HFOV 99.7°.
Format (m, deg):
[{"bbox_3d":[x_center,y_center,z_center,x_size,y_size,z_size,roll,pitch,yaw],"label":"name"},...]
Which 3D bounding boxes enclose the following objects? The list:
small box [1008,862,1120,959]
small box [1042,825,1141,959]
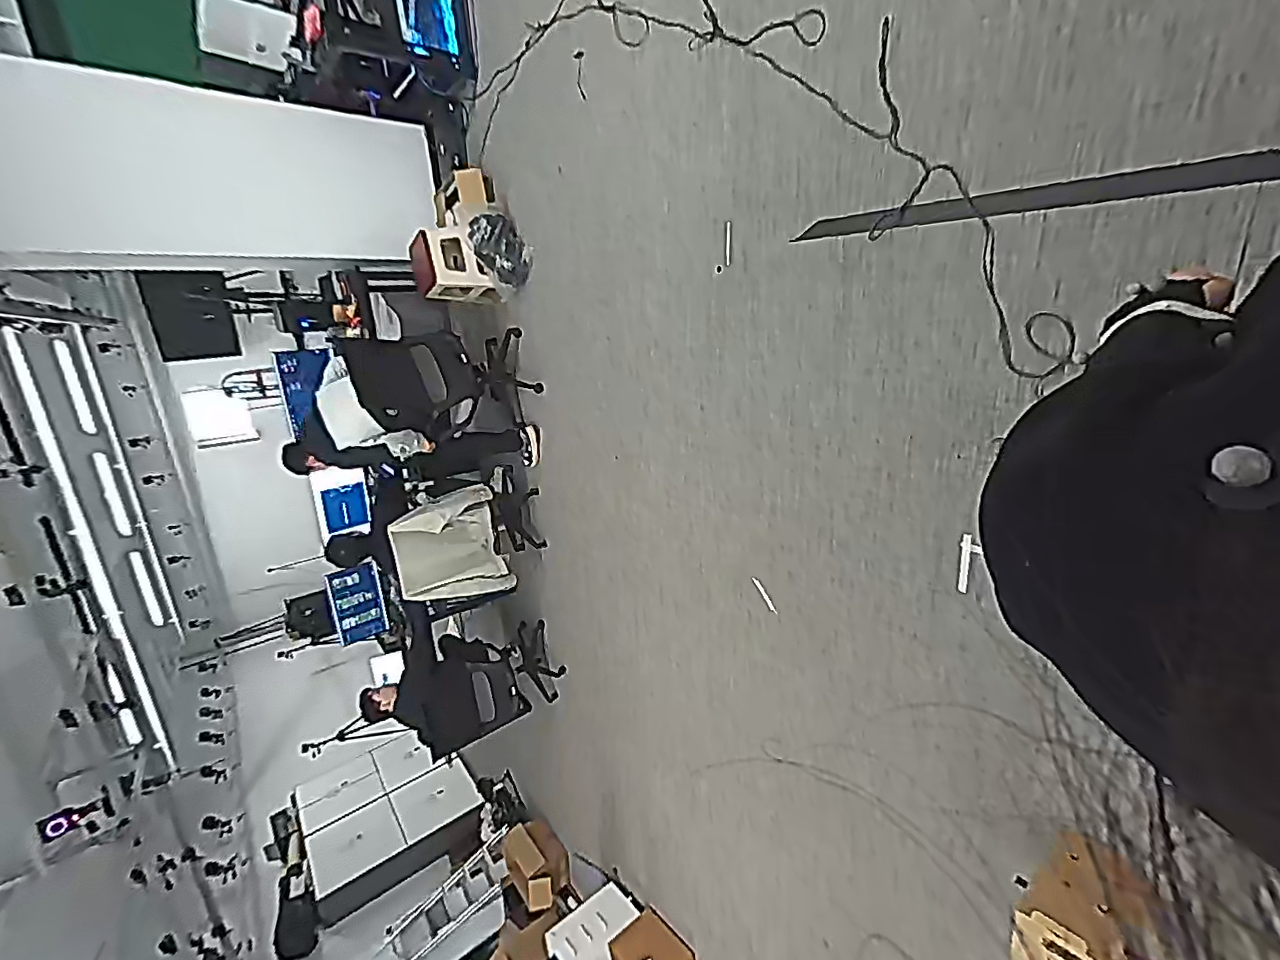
[{"bbox_3d":[1.004,1.067,1.279,0.168,0.176,0.179,14,115,51],"label":"small box"},{"bbox_3d":[1.136,1.031,1.371,0.168,0.176,0.179,13,115,52],"label":"small box"}]
